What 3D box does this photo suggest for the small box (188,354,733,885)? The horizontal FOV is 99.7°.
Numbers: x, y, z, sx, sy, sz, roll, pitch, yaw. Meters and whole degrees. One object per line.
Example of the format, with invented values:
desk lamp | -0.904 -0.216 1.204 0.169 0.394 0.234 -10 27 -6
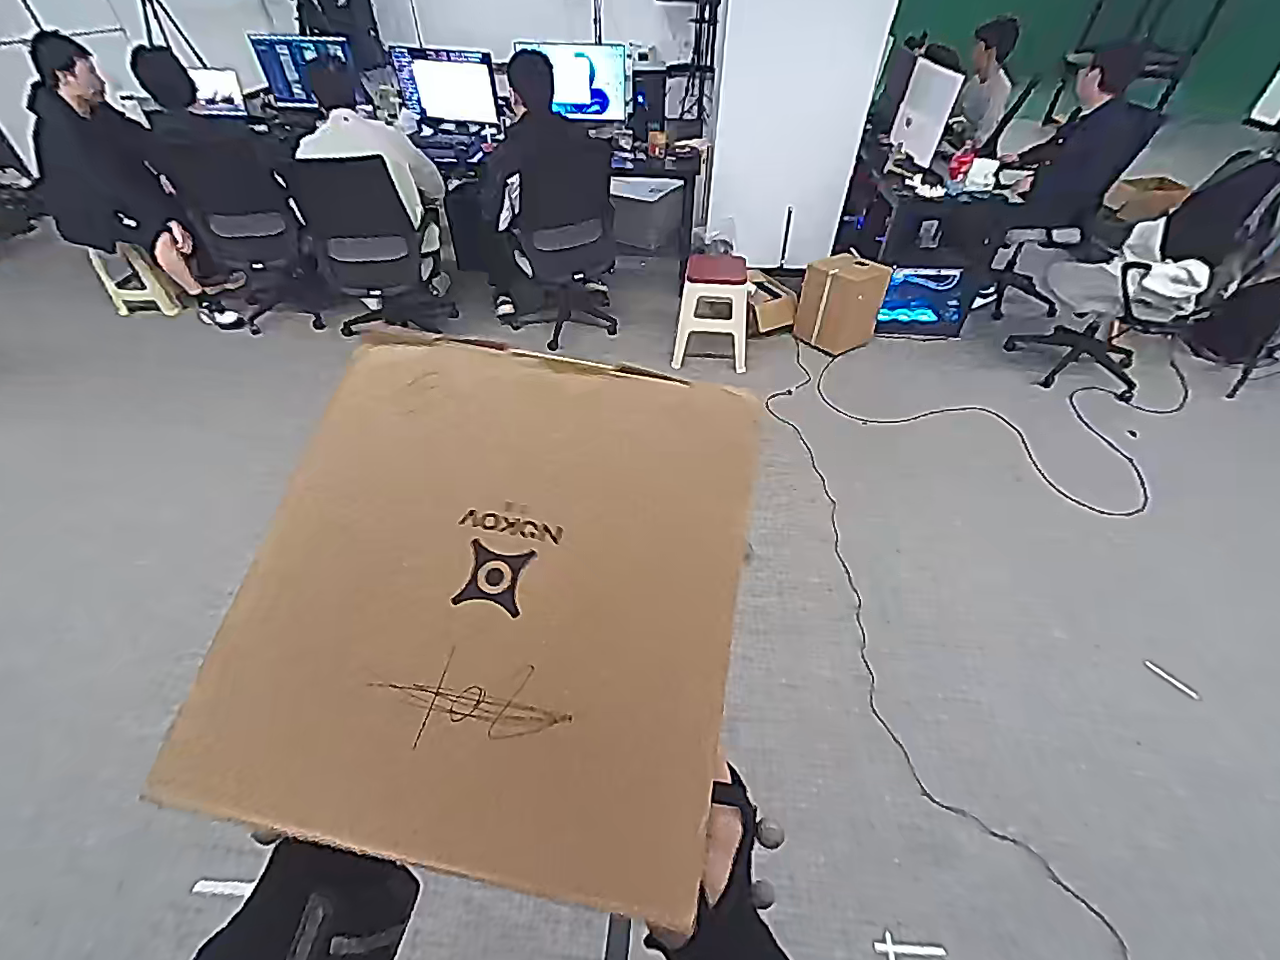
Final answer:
small box | -0.054 0.064 0.274 0.168 0.176 0.179 7 68 3
